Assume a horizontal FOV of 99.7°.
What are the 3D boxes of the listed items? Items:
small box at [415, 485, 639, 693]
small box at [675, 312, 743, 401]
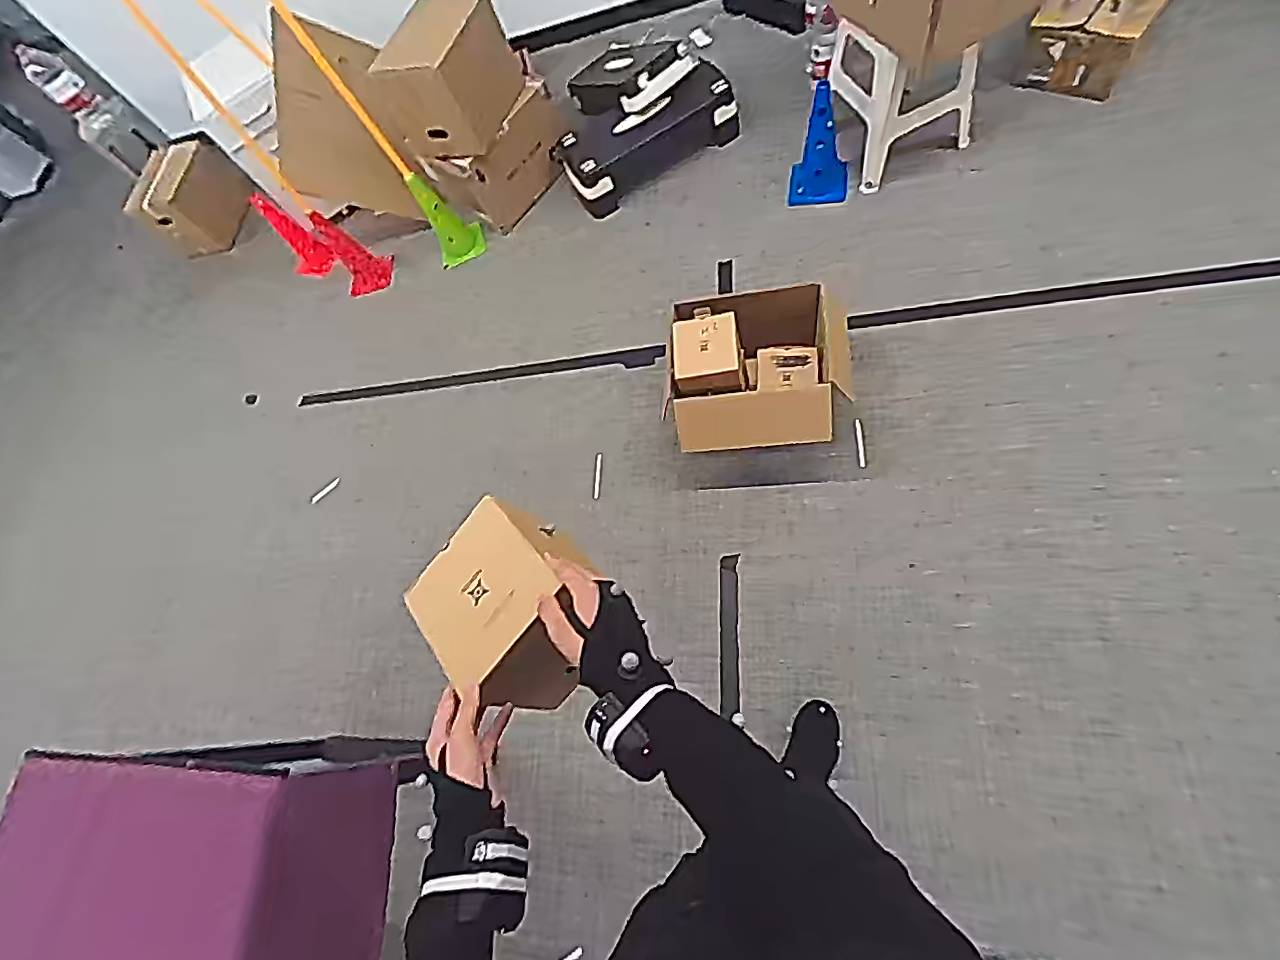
[{"bbox_3d":[-0.136,0.142,0.672,0.168,0.176,0.179,-48,53,2],"label":"small box"},{"bbox_3d":[0.191,-0.327,1.474,0.168,0.176,0.179,-4,69,14],"label":"small box"}]
